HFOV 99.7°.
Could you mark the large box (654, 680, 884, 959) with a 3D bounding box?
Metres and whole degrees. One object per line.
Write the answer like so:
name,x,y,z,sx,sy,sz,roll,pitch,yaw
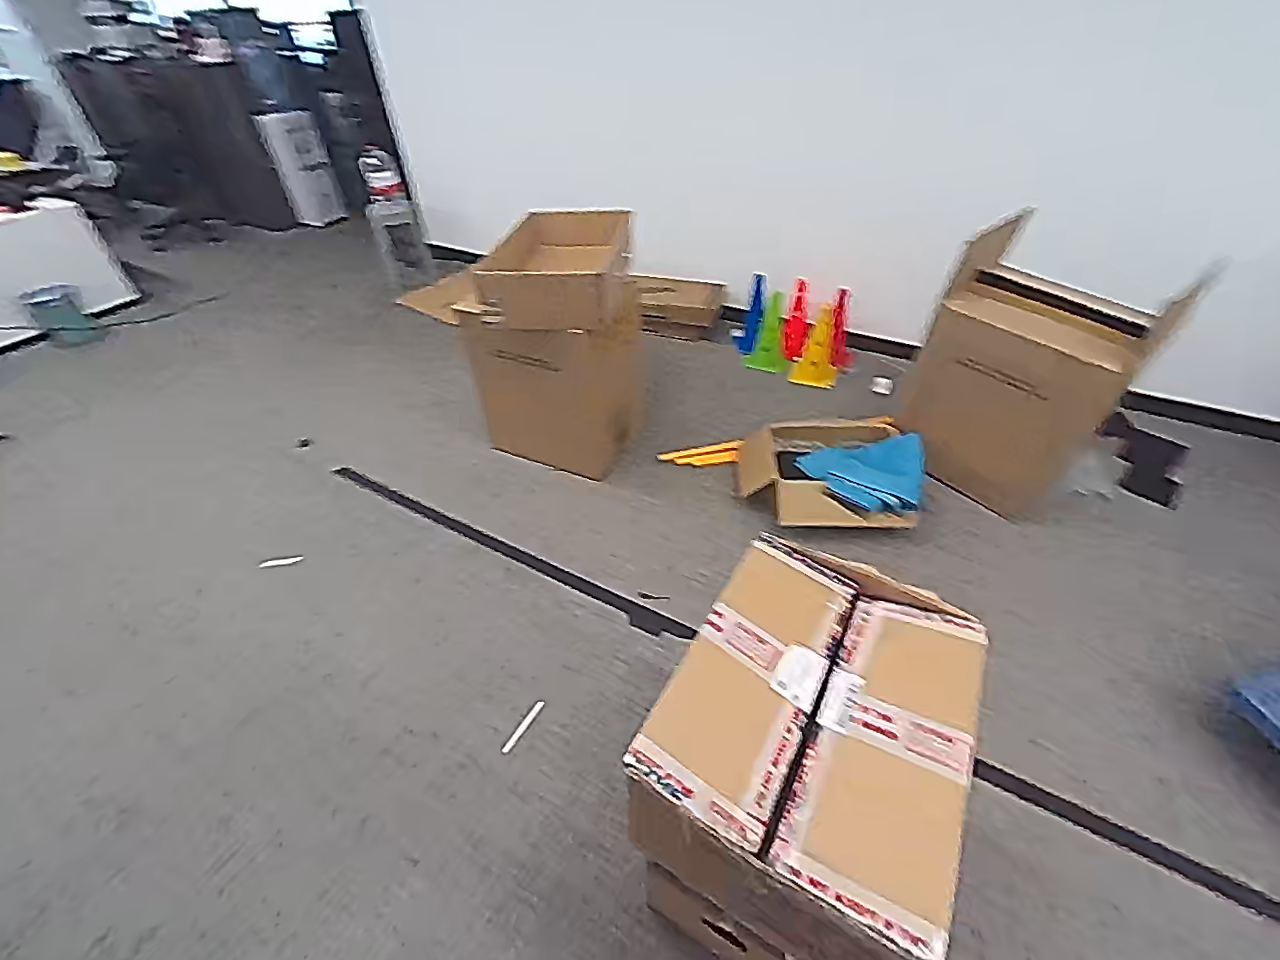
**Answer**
large box,0.253,0.703,1.084,0.320,0.320,0.408,20,47,23
